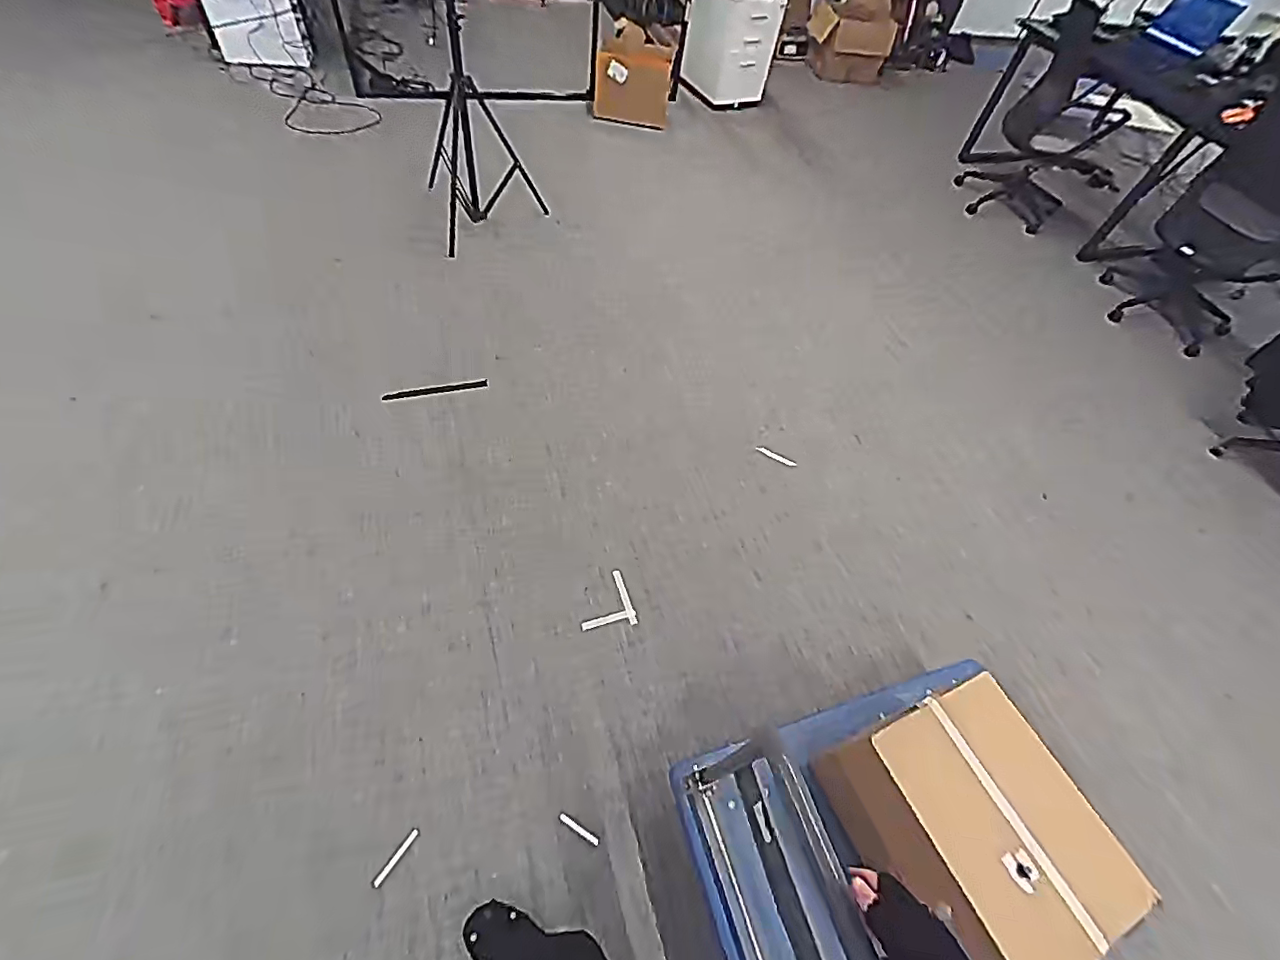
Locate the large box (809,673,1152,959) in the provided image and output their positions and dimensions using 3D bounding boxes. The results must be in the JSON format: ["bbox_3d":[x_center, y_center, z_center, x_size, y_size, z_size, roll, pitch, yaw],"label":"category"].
[{"bbox_3d":[0.614,0.664,1.061,0.320,0.320,0.408,-18,60,-19],"label":"large box"}]
